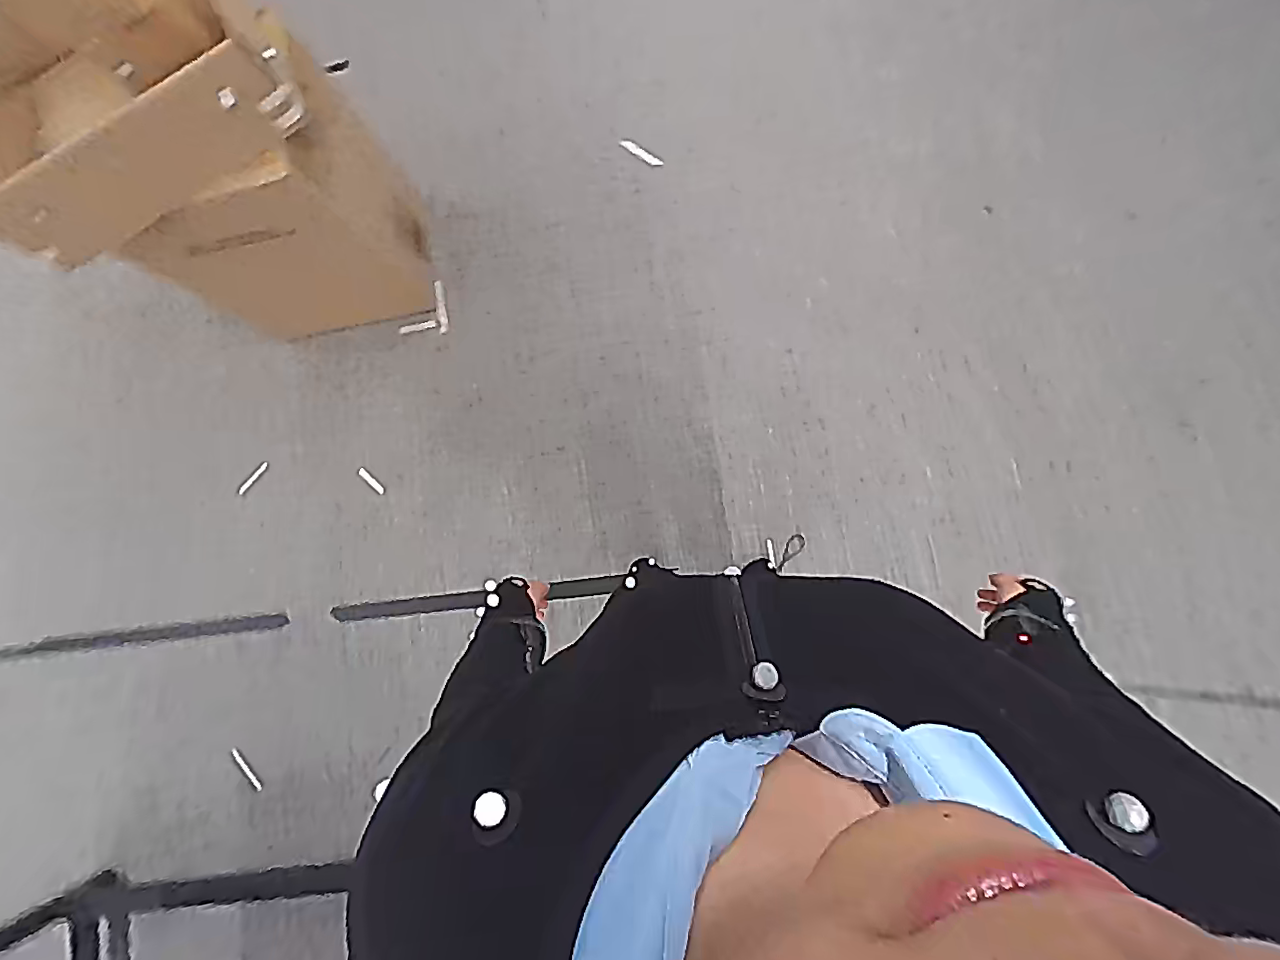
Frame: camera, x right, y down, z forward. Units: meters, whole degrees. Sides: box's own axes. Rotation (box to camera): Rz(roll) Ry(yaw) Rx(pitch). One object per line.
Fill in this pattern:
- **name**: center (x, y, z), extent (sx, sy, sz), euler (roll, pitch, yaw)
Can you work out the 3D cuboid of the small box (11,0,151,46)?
- **small box**: center (-0.917, -0.844, 0.846), extent (0.179, 0.176, 0.168), euler (-16, 82, 6)
